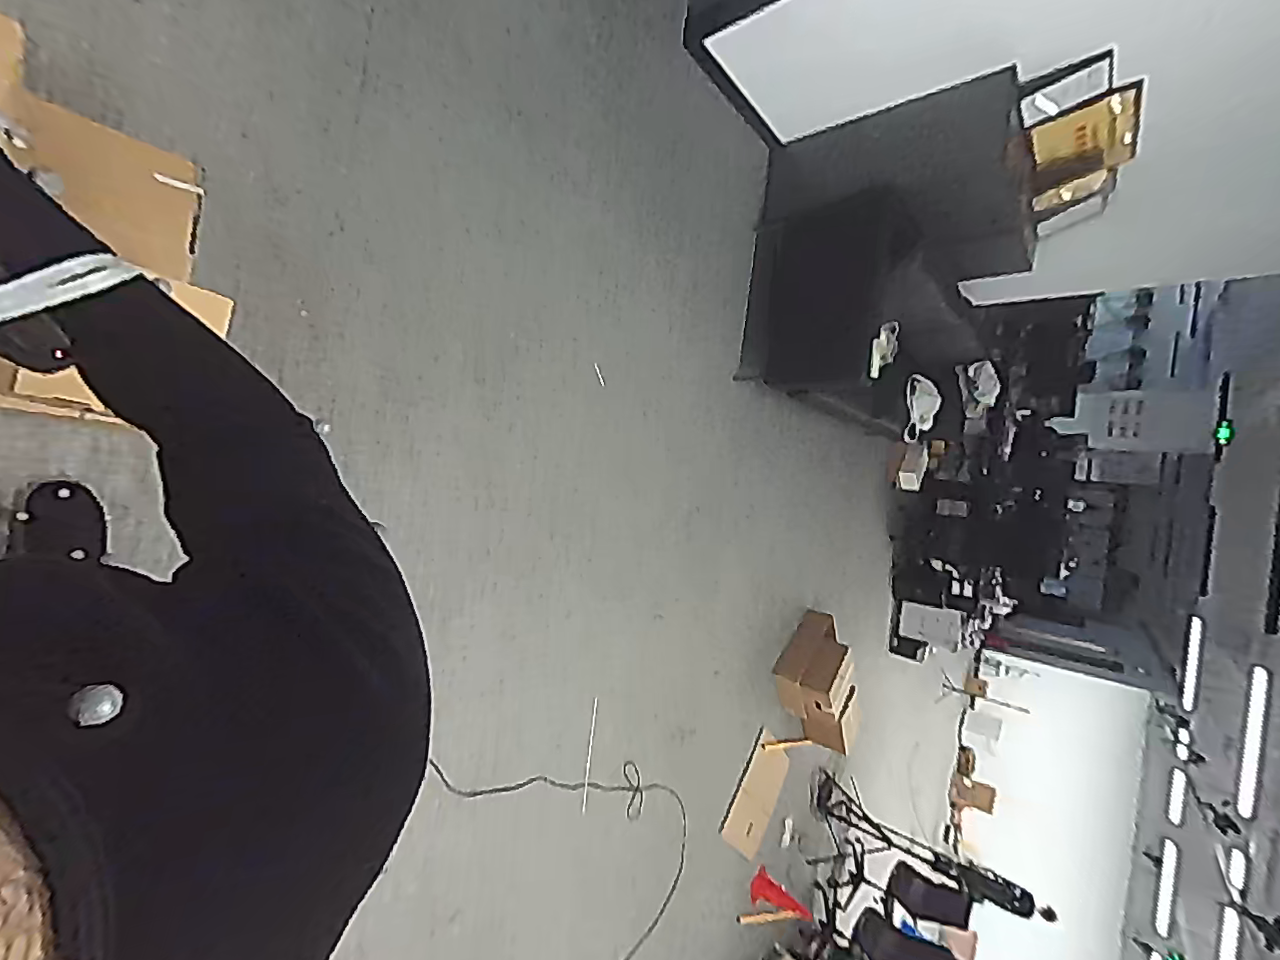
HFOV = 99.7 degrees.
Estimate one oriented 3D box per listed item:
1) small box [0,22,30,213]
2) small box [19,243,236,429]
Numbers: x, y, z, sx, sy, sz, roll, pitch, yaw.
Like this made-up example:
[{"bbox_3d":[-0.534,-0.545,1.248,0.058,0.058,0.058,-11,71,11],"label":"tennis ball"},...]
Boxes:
[{"bbox_3d":[-0.765,-0.394,0.551,0.168,0.176,0.179,12,83,-49],"label":"small box"},{"bbox_3d":[-0.658,-0.168,0.696,0.168,0.176,0.179,14,83,-51],"label":"small box"}]
